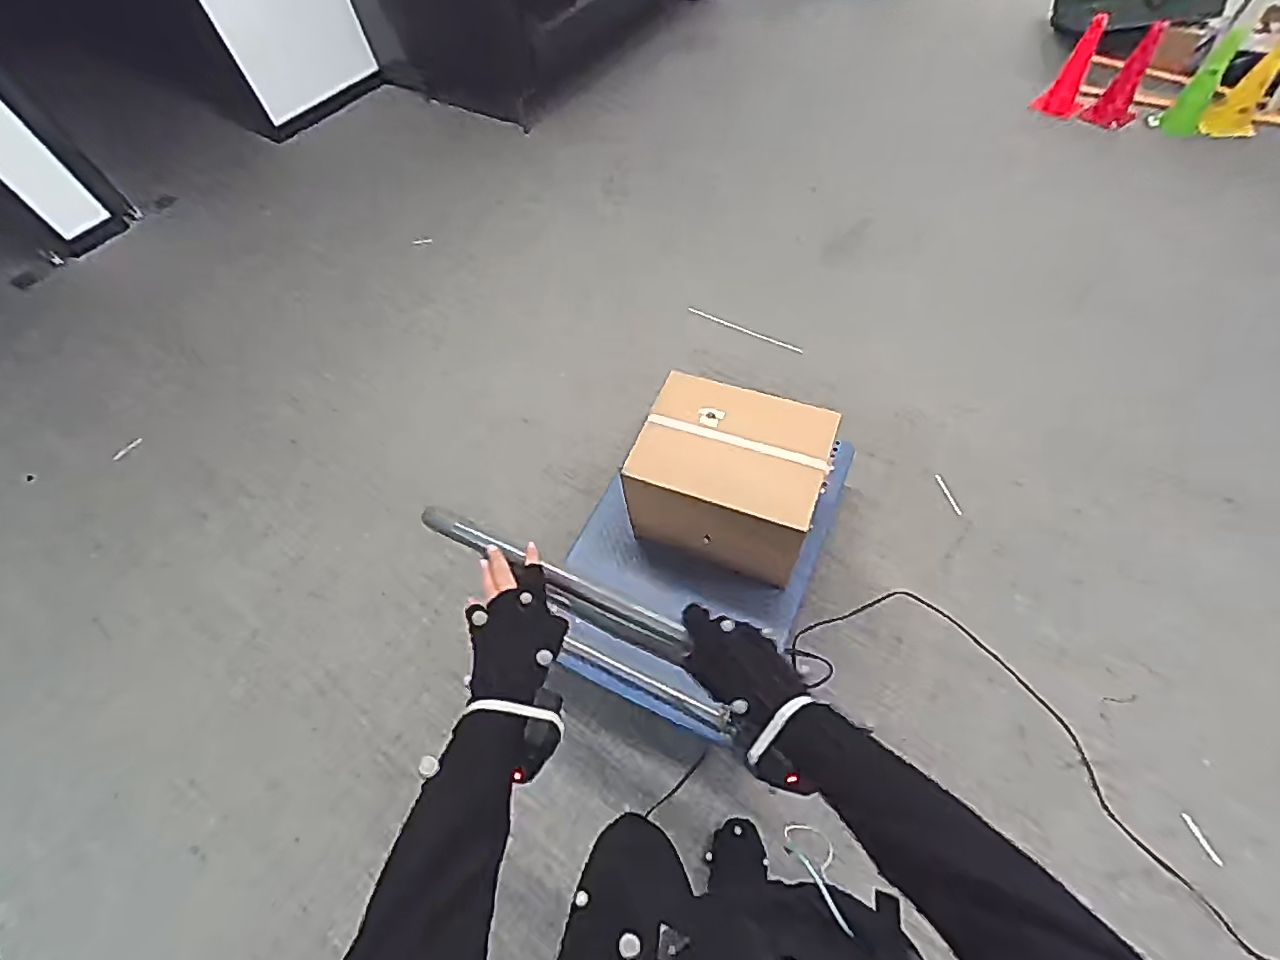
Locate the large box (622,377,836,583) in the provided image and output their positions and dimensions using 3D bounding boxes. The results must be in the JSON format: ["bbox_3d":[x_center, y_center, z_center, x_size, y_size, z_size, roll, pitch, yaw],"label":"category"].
[{"bbox_3d":[0.214,0.003,1.309,0.408,0.320,0.320,17,60,17],"label":"large box"}]
